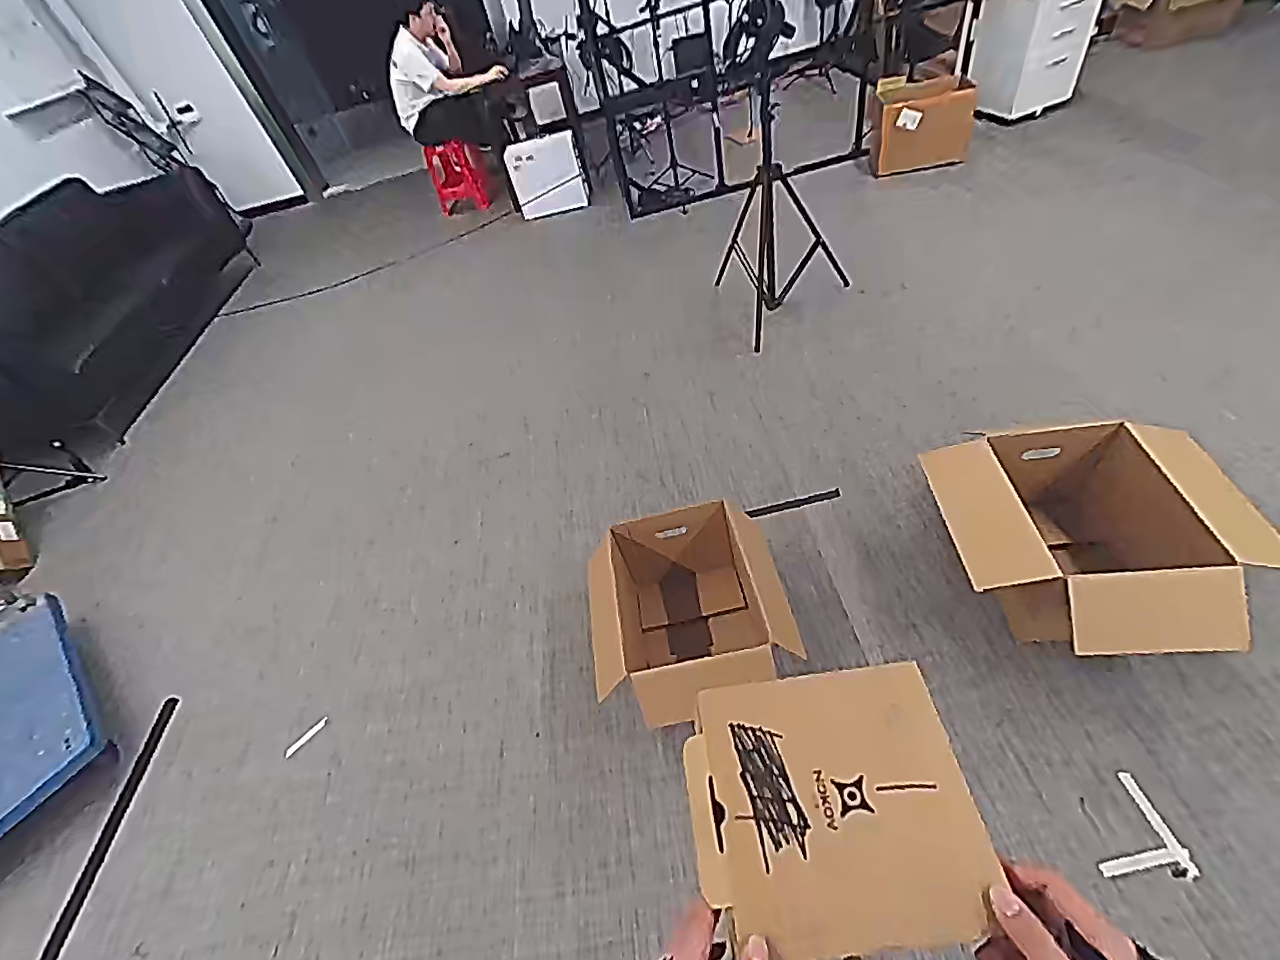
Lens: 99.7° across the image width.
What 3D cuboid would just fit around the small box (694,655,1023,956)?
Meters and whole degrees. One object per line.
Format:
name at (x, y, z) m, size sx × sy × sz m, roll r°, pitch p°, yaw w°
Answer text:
small box at (0.144, 0.259, 0.433) m, size 0.179 × 0.176 × 0.168 m, roll -8°, pitch 53°, yaw 0°
